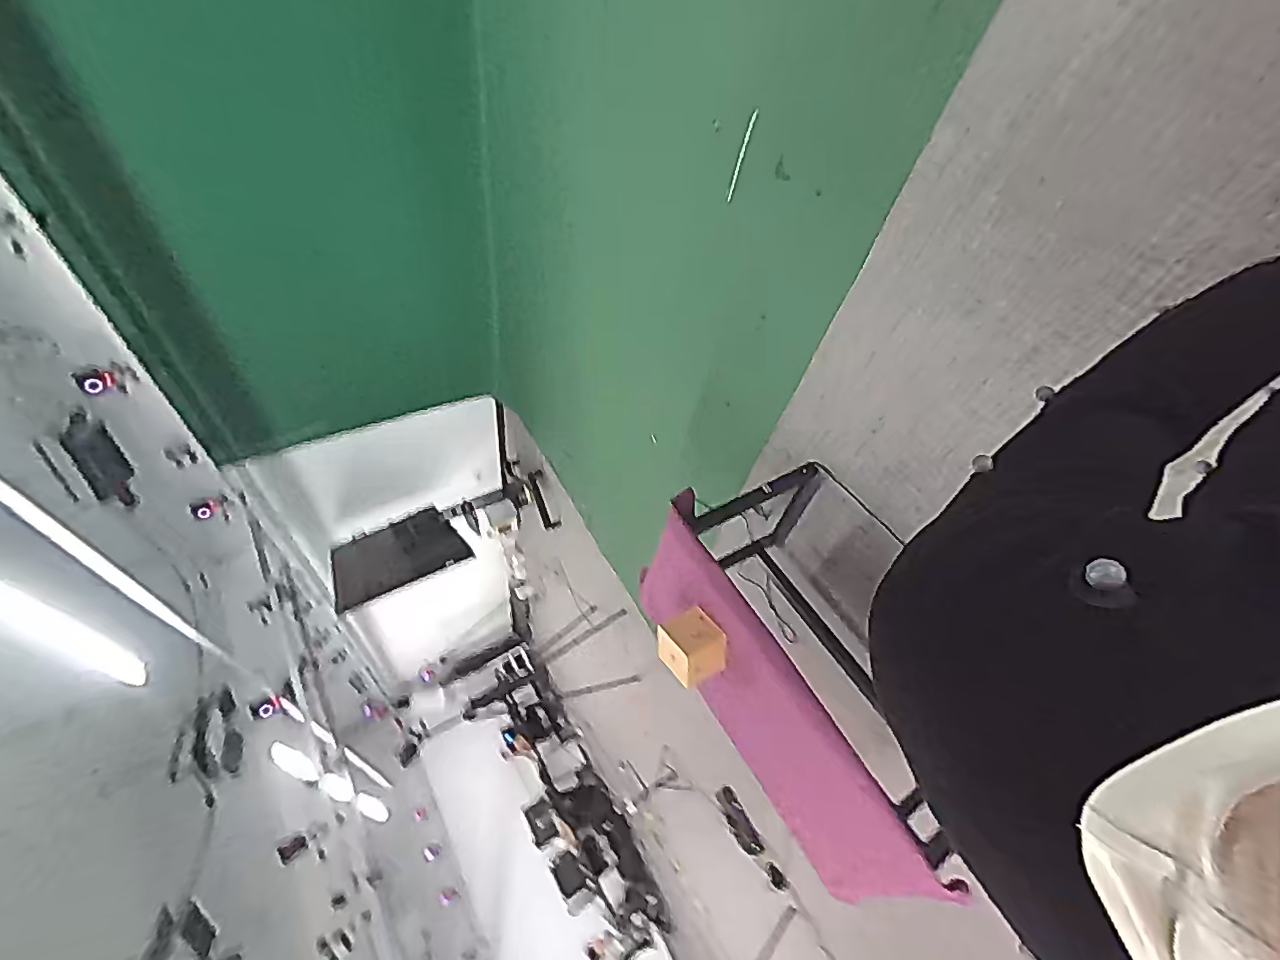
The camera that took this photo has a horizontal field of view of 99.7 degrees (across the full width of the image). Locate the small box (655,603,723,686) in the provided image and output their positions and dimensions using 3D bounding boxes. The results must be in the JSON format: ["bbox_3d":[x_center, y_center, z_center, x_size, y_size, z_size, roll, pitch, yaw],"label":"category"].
[{"bbox_3d":[0.169,0.558,1.857,0.168,0.176,0.179,39,143,44],"label":"small box"}]
